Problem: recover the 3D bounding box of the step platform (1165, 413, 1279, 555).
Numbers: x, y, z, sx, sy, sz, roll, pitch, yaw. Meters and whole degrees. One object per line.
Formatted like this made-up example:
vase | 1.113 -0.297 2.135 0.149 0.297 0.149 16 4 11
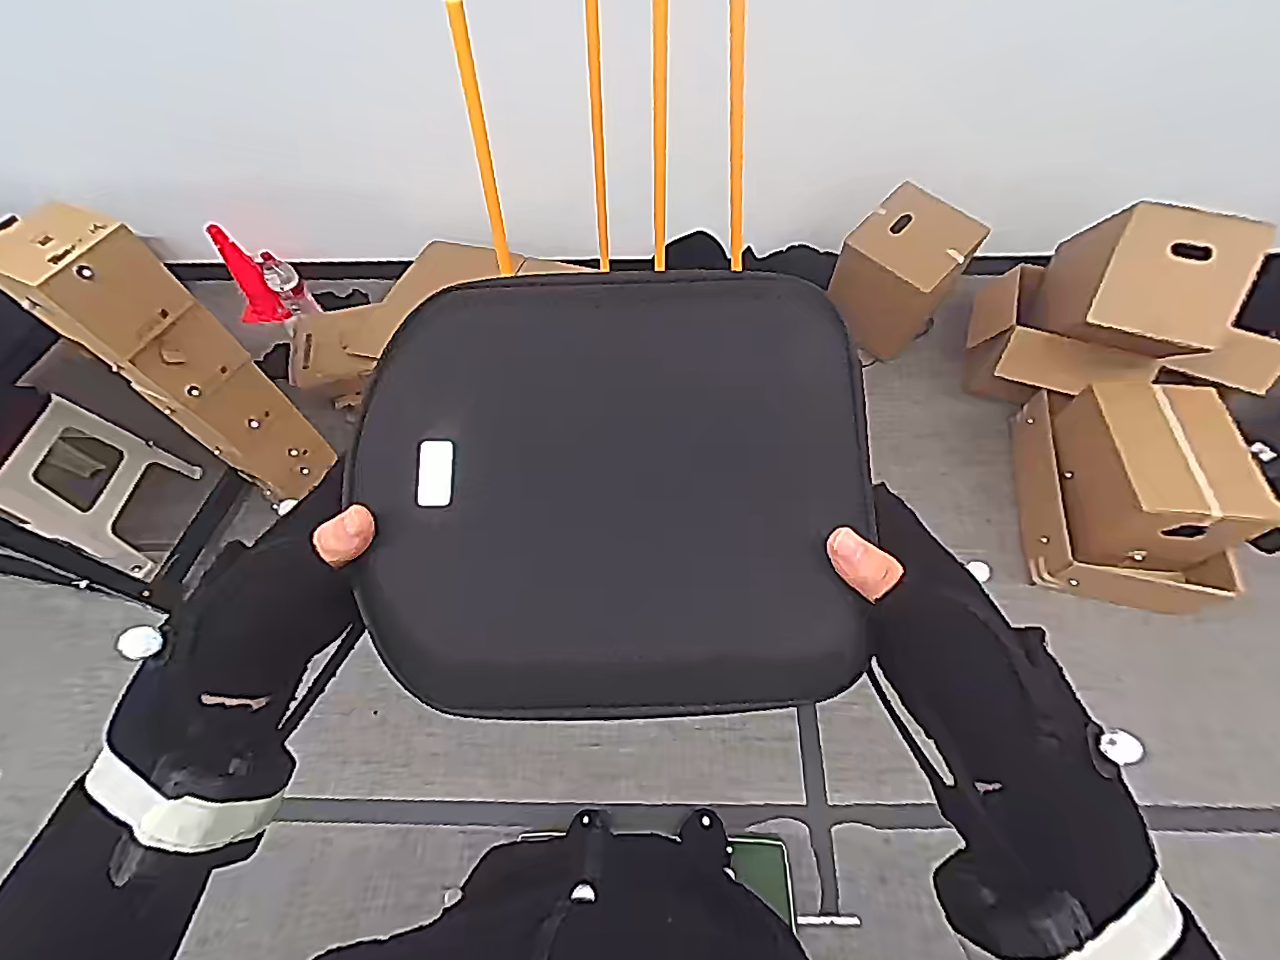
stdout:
step platform | 1.993 -0.048 1.638 0.684 0.204 0.286 -25 62 -13
